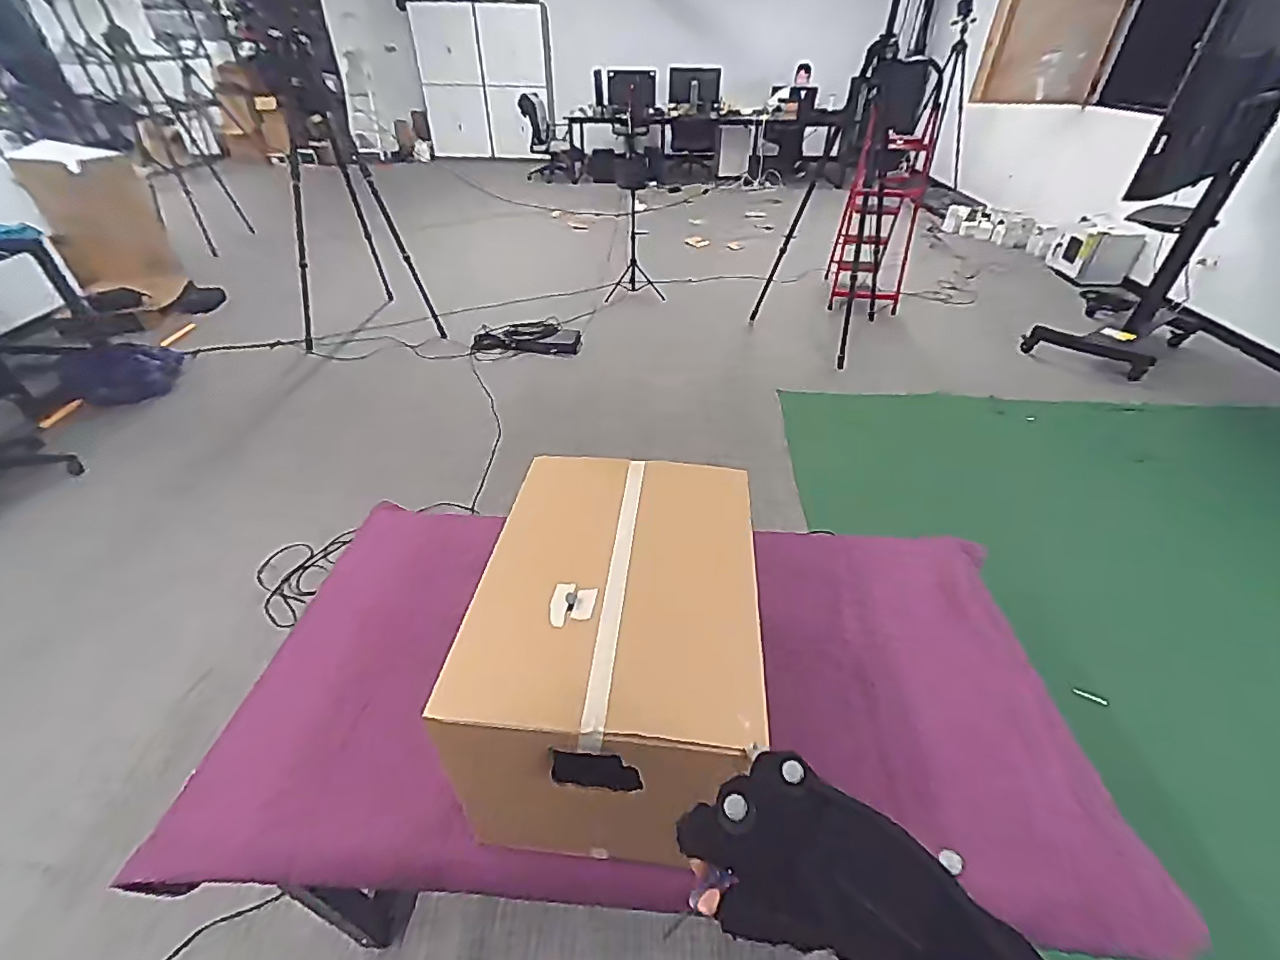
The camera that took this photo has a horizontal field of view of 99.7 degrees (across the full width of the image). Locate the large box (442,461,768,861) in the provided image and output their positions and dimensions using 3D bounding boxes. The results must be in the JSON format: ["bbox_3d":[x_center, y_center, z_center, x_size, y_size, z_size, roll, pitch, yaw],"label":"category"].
[{"bbox_3d":[-0.022,0.224,0.740,0.320,0.320,0.408,5,40,4],"label":"large box"}]
